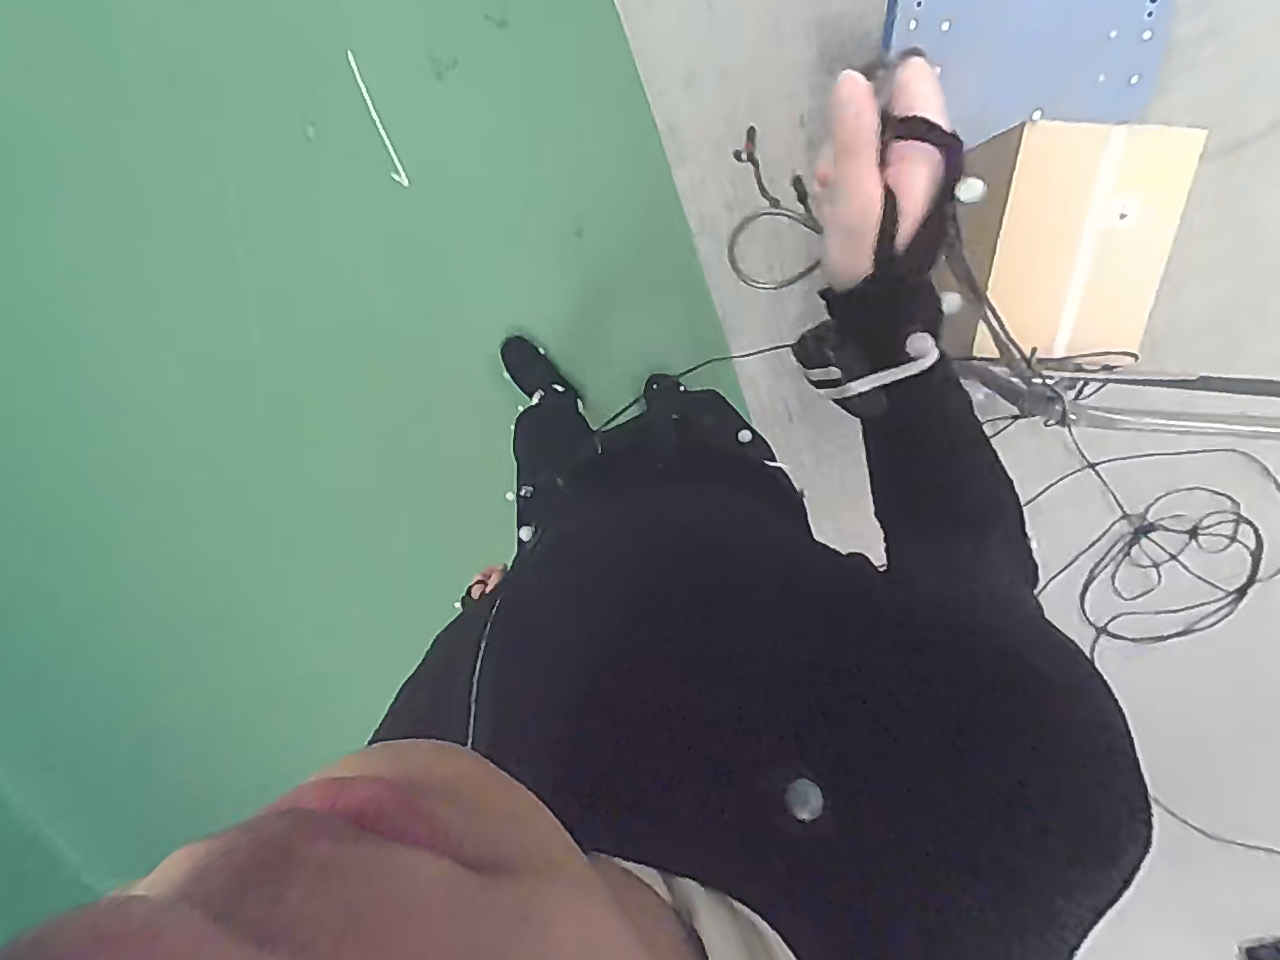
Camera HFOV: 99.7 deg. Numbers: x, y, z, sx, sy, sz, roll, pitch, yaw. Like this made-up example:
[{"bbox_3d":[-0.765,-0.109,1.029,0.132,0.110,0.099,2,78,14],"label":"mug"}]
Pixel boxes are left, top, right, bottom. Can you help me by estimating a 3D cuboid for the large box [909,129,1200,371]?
[{"bbox_3d":[0.809,-0.447,1.128,0.320,0.320,0.408,4,106,0],"label":"large box"}]
